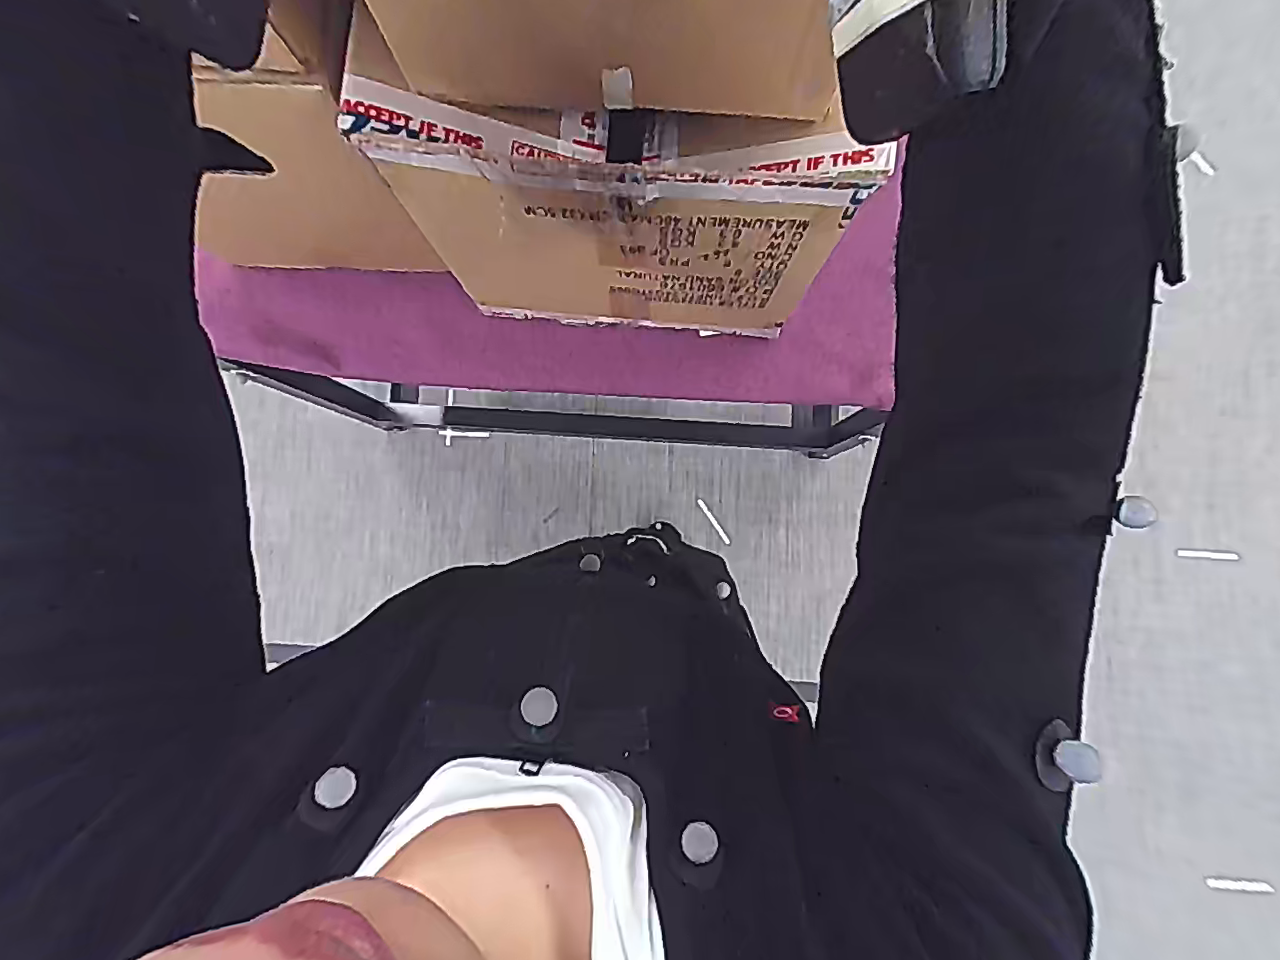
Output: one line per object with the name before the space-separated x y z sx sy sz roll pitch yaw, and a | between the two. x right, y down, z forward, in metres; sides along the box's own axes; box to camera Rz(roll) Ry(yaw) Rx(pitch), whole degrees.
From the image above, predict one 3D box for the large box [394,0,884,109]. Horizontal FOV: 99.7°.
large box | 0.005 -0.490 0.266 0.320 0.320 0.408 3 85 1
